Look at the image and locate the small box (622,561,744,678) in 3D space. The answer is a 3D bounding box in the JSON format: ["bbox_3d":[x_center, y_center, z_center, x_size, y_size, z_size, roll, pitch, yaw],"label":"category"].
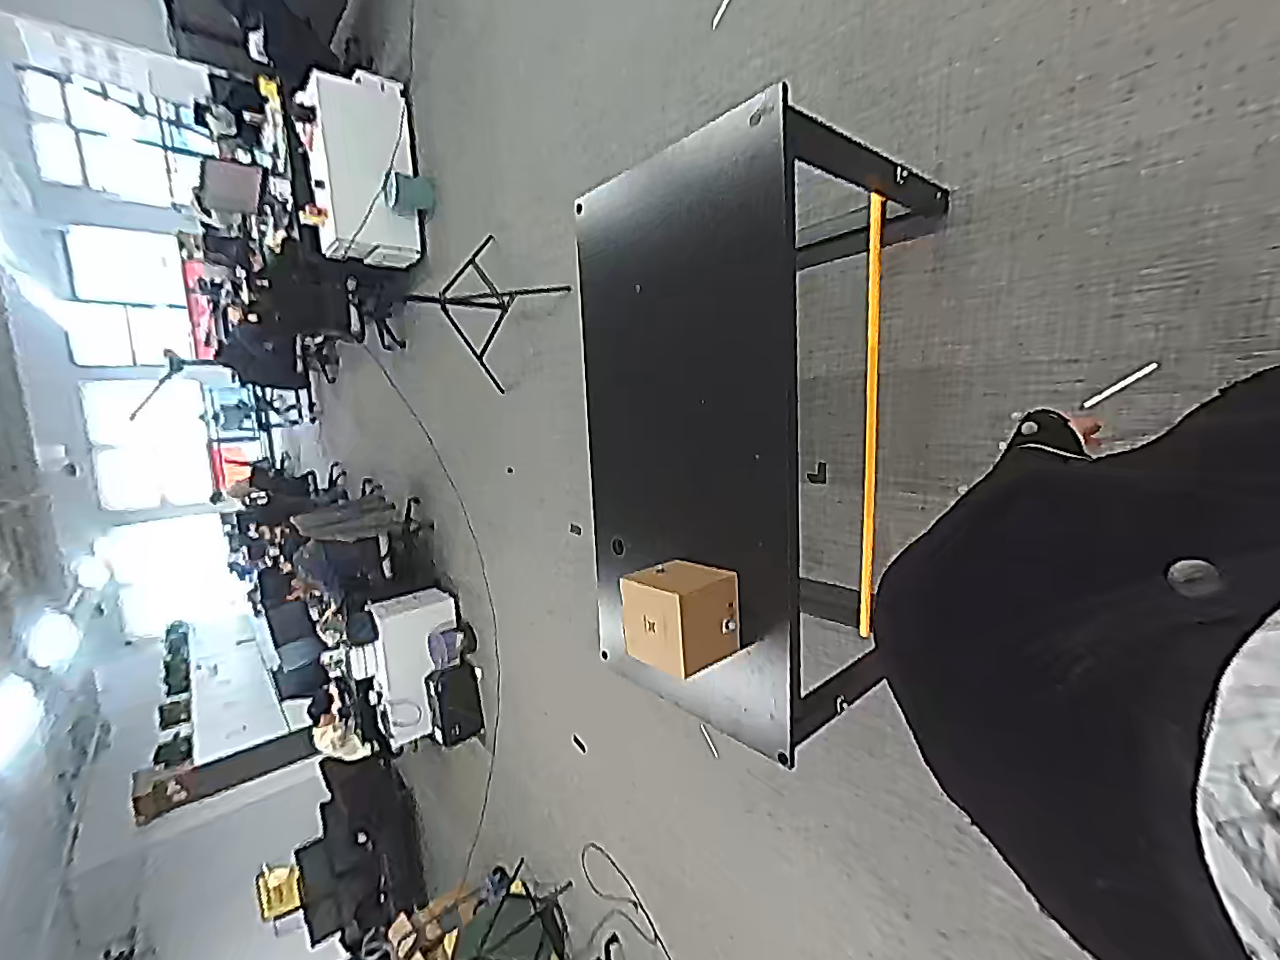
[{"bbox_3d":[0.087,0.269,1.091,0.179,0.176,0.168,2,100,49],"label":"small box"}]
